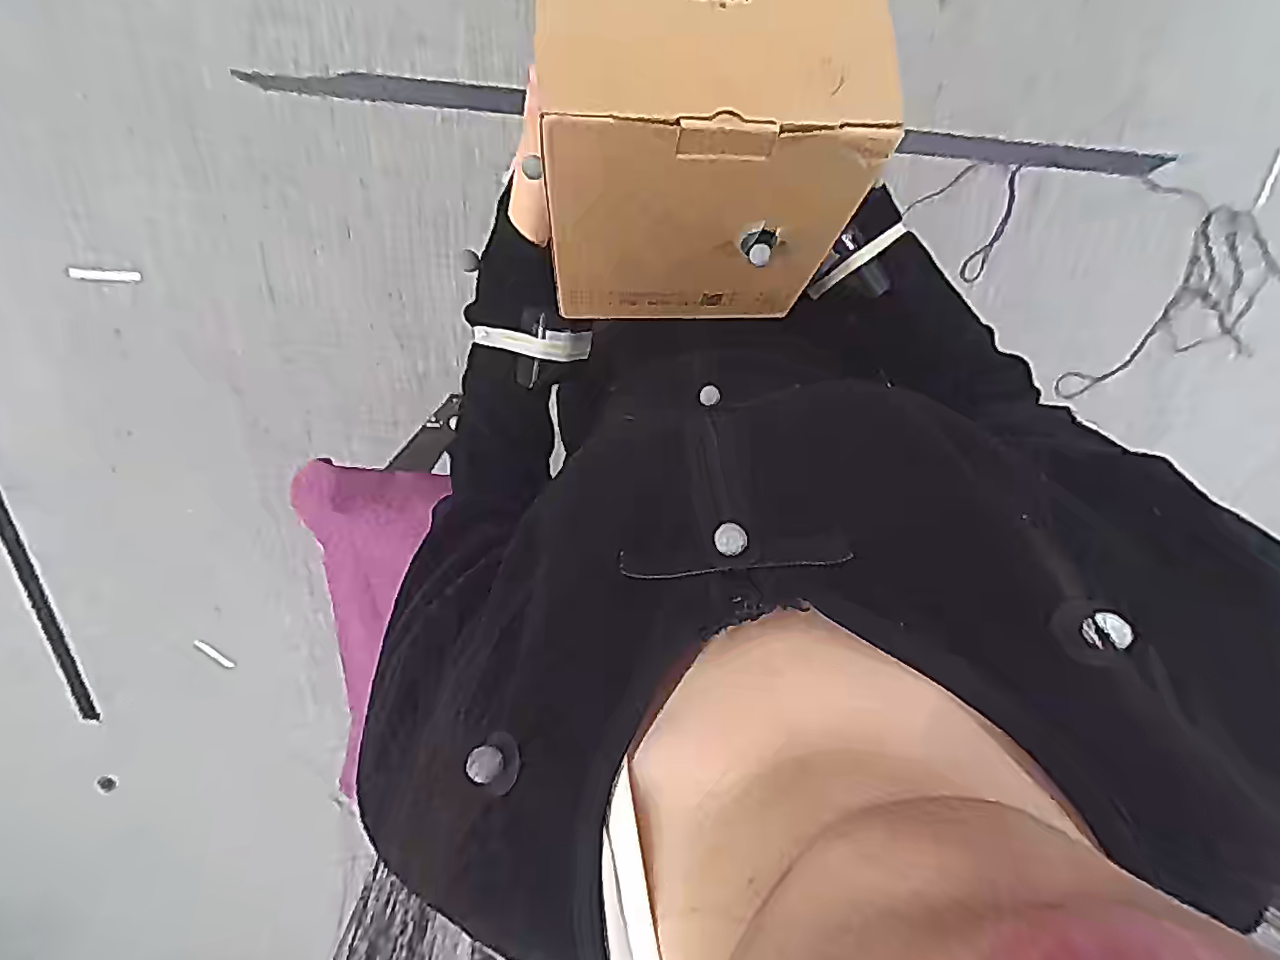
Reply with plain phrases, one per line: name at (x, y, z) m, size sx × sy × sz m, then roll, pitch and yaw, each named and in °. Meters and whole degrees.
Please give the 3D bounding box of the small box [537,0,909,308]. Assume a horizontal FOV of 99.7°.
small box at (0.029, -0.222, 0.327) m, size 0.168 × 0.176 × 0.179 m, roll -1°, pitch 77°, yaw -6°
